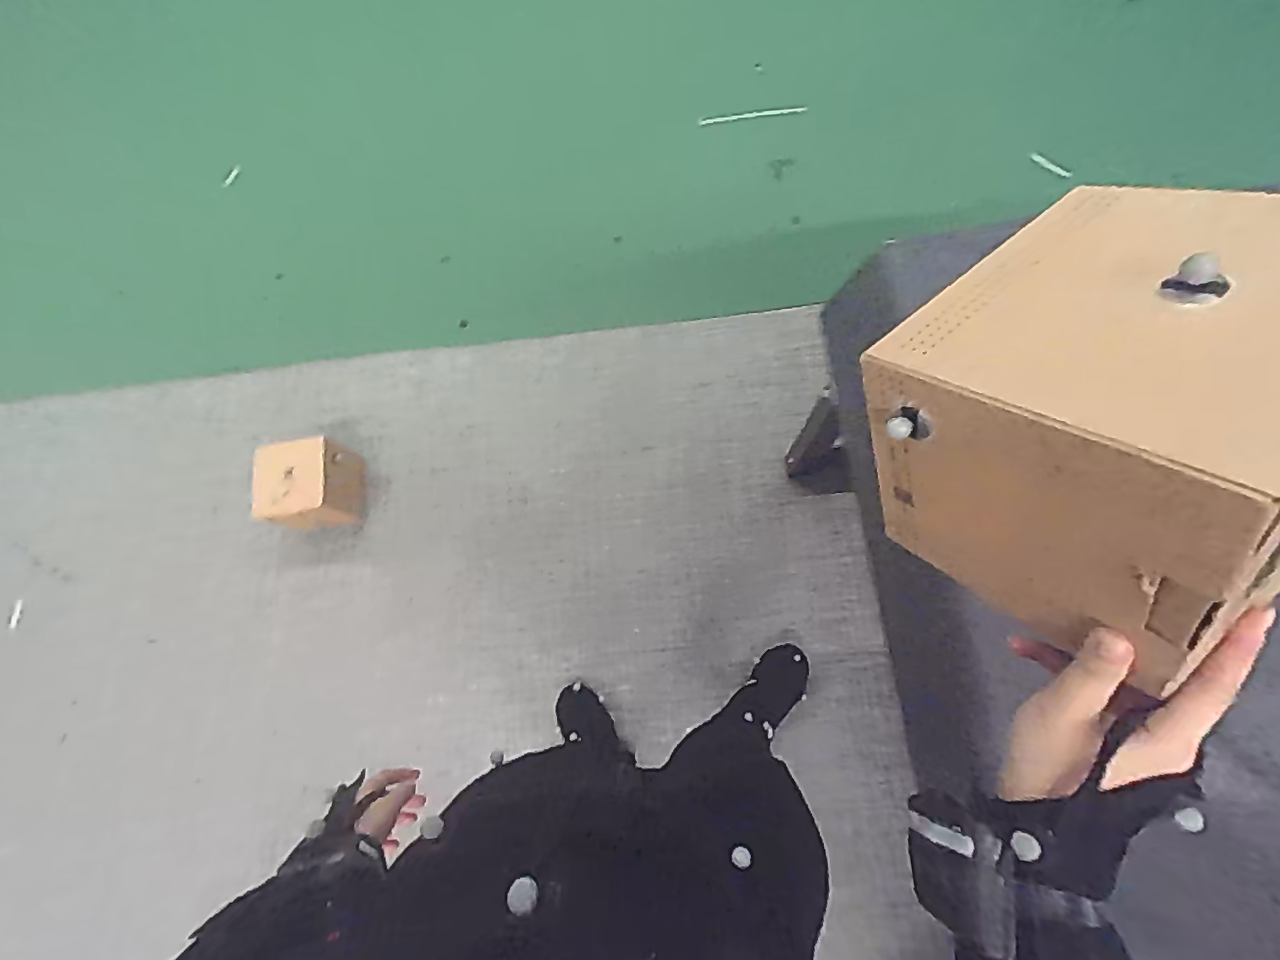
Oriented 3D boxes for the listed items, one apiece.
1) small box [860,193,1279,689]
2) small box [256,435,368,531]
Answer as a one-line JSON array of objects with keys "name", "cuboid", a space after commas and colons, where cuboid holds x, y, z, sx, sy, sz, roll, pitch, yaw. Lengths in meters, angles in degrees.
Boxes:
[{"name": "small box", "cuboid": [0.243, -0.033, 0.297, 0.179, 0.168, 0.176, -38, 41, -9]}, {"name": "small box", "cuboid": [-0.777, 0.013, 1.298, 0.168, 0.176, 0.179, -10, 73, 2]}]
